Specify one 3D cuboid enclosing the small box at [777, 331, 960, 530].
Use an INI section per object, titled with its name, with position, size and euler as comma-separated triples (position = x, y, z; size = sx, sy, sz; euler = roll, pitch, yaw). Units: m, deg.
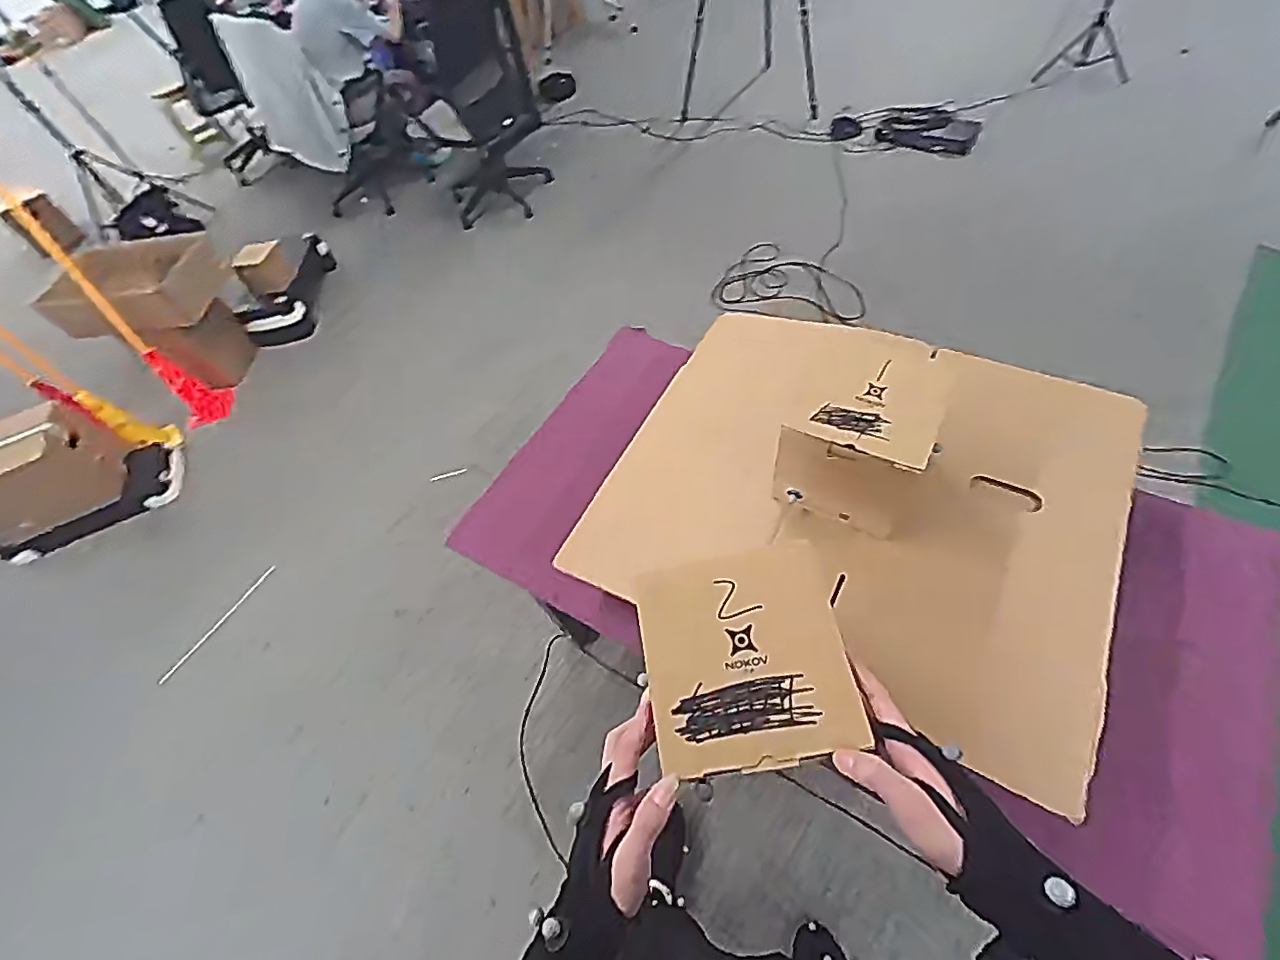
[small box]
position = 0.290, -0.060, 0.717
size = 0.168, 0.176, 0.179
euler = 22, 63, 21
